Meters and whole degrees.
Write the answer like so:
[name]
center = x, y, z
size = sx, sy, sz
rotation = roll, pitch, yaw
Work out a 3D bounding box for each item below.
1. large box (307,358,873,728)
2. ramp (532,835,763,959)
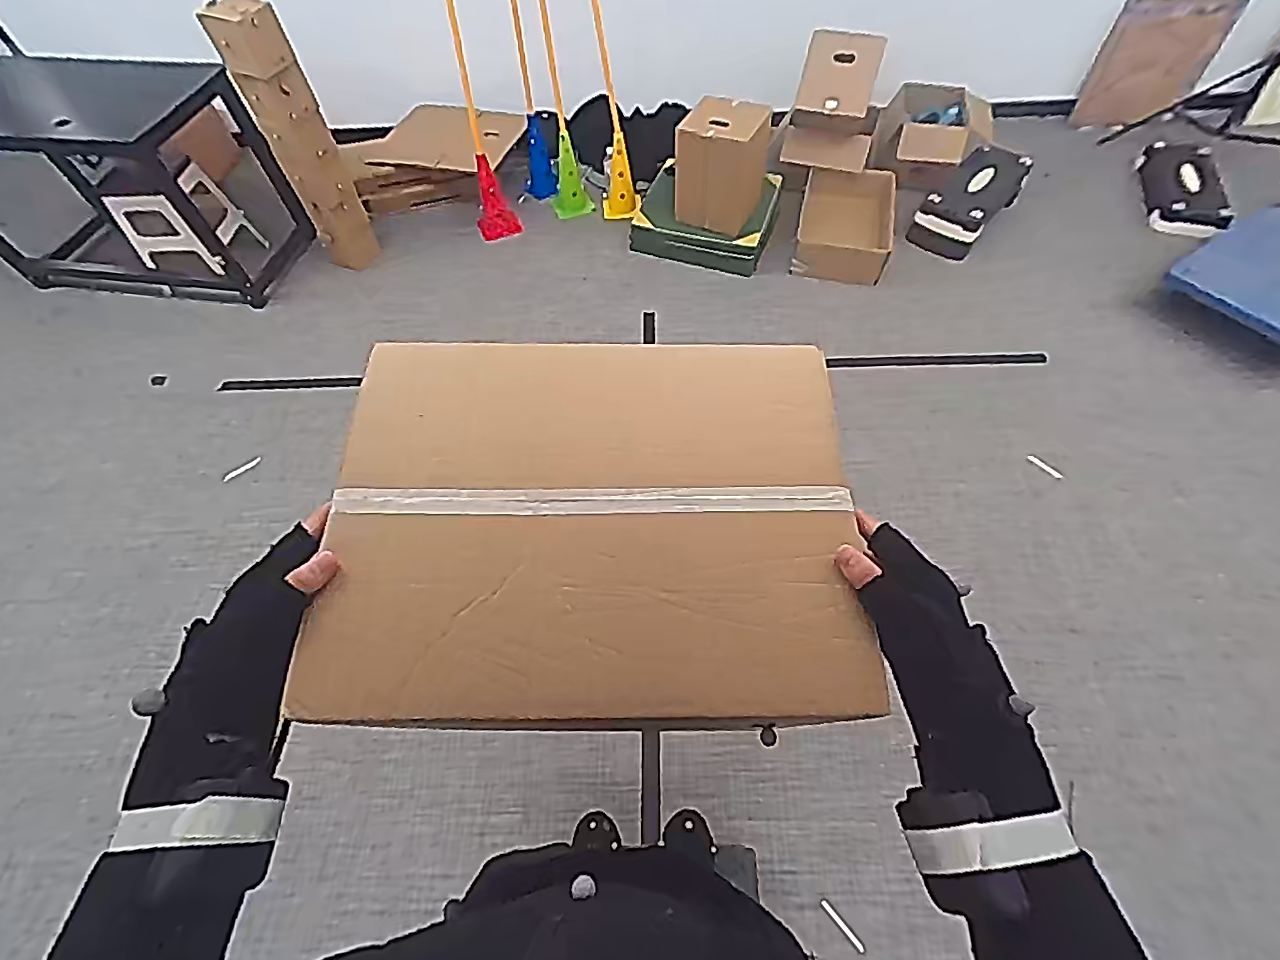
[large box]
center = -0.036, 0.090, 0.572
size = 0.408, 0.320, 0.320
rotation = 0, 64, -1
[ramp]
center = 0.020, 1.266, 1.035
size = 0.509, 0.206, 0.991
rotation = -2, 59, -1
